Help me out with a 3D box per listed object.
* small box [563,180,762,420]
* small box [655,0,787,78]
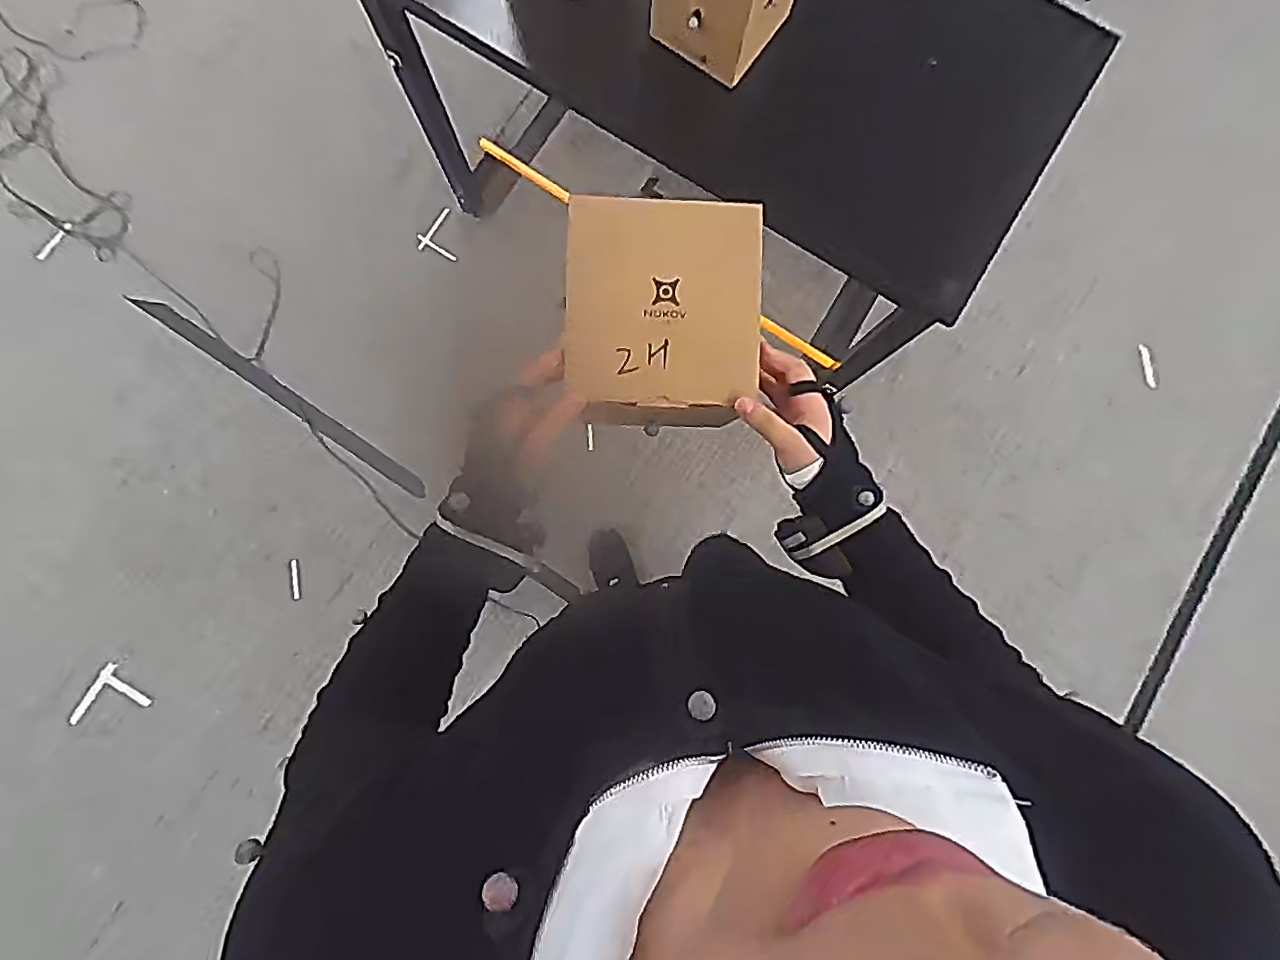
[{"bbox_3d":[0.016,-0.159,0.532,0.168,0.176,0.179,2,89,-2],"label":"small box"},{"bbox_3d":[0.132,-0.761,0.805,0.168,0.176,0.179,34,84,2],"label":"small box"}]
